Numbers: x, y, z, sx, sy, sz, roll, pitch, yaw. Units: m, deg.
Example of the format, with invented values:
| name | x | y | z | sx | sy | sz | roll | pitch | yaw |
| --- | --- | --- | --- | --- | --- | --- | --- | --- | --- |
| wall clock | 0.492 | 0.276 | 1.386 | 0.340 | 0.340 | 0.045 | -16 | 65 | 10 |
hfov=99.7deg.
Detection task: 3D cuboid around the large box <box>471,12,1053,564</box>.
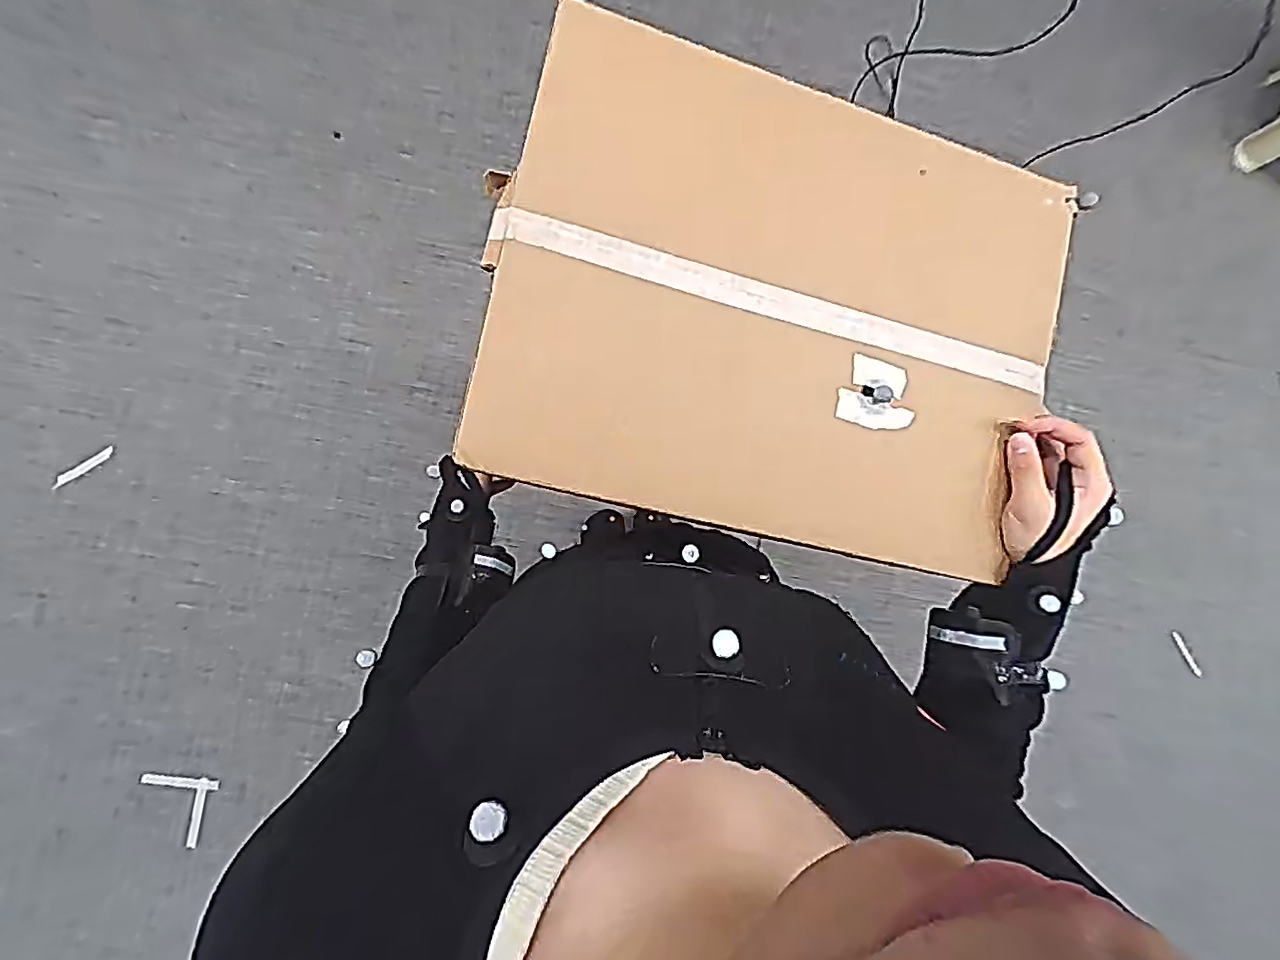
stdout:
| name | x | y | z | sx | sy | sz | roll | pitch | yaw |
| --- | --- | --- | --- | --- | --- | --- | --- | --- | --- |
| large box | 0.079 | -0.120 | 0.529 | 0.408 | 0.320 | 0.320 | 13 | 88 | -11 |
